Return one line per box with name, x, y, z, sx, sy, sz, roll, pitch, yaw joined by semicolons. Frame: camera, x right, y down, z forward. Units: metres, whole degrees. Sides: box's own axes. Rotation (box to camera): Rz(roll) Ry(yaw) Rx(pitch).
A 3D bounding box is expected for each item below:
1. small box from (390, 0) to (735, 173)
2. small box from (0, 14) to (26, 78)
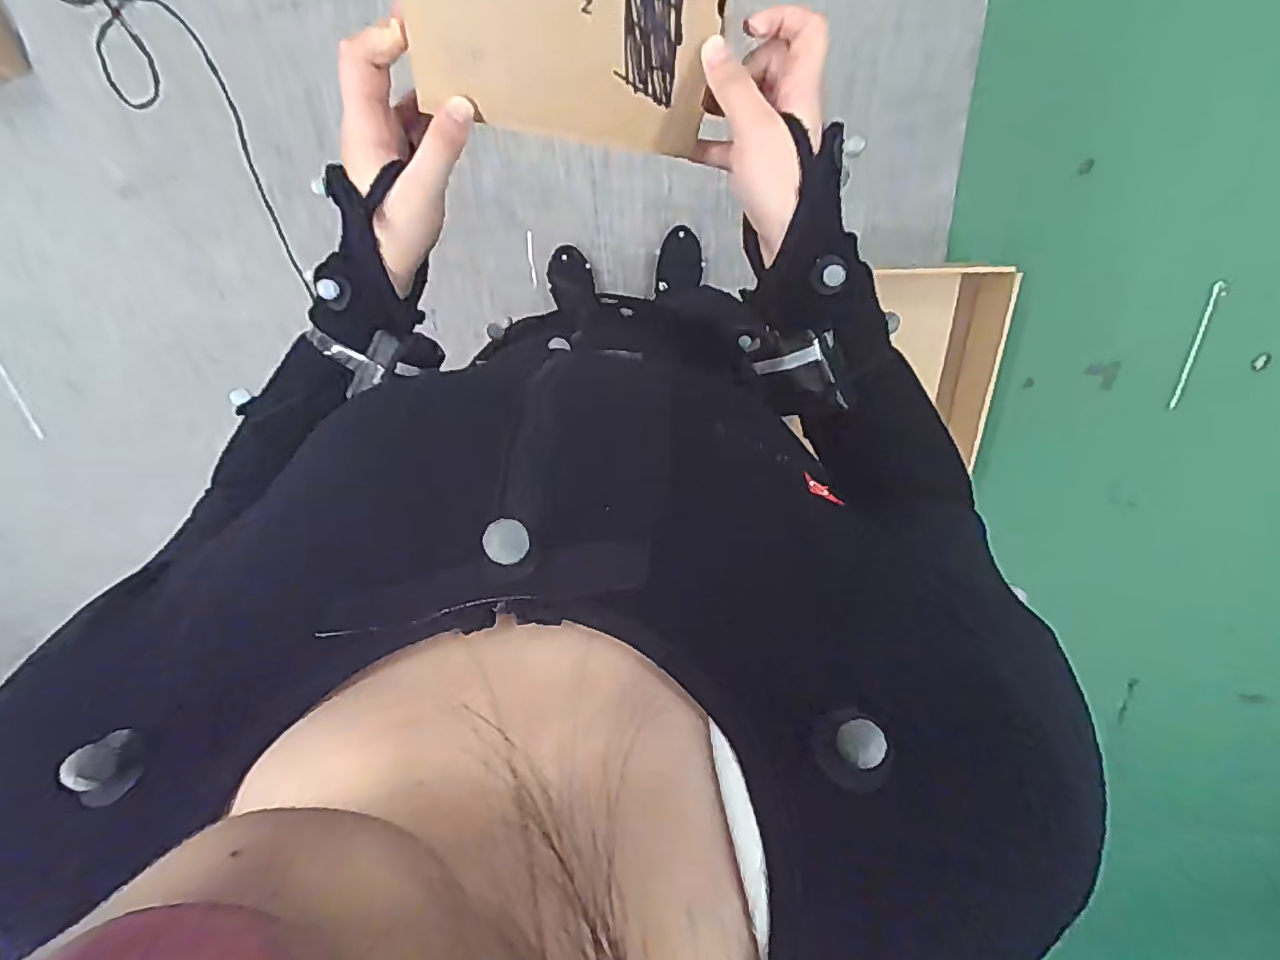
small box;-0.039;-0.316;0.310;0.179;0.176;0.168;5;150;-9
small box;-1.436;-0.921;1.088;0.179;0.176;0.168;-11;115;7
